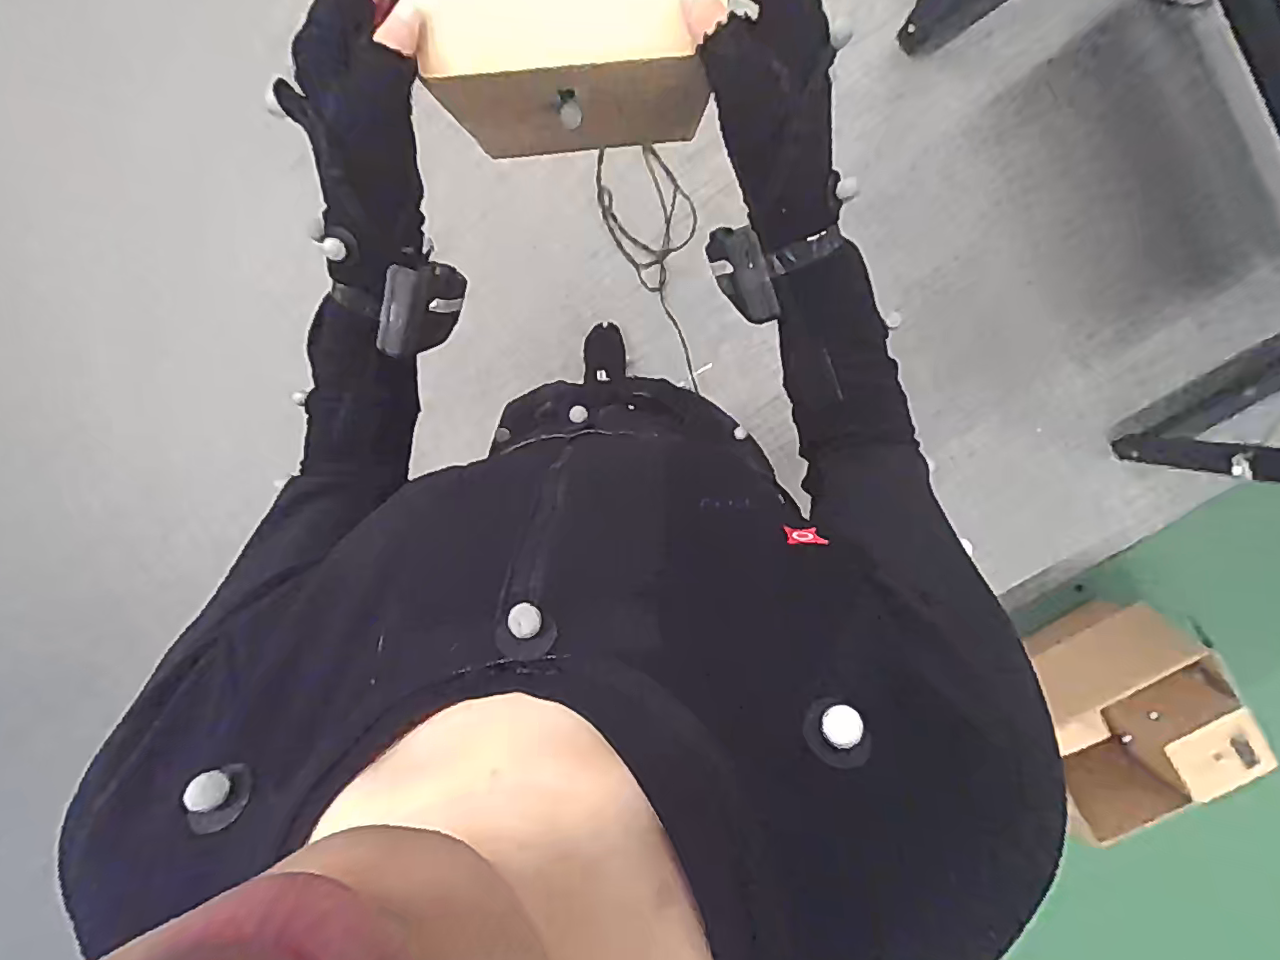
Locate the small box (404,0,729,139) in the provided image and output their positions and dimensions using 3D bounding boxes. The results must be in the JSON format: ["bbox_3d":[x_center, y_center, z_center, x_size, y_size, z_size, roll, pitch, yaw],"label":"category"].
[{"bbox_3d":[-0.044,-0.336,0.344,0.179,0.176,0.168,-4,109,1],"label":"small box"}]
